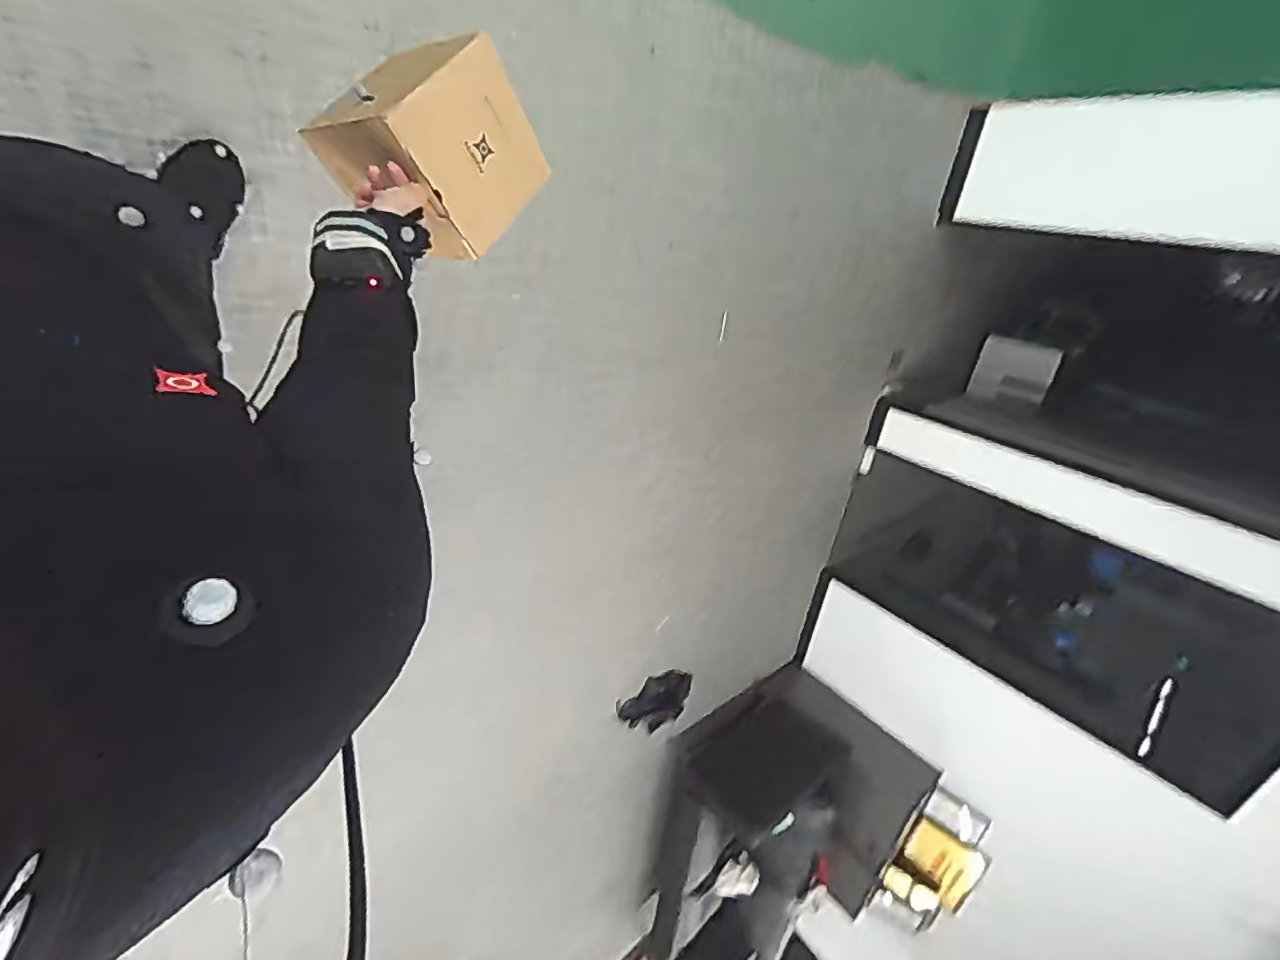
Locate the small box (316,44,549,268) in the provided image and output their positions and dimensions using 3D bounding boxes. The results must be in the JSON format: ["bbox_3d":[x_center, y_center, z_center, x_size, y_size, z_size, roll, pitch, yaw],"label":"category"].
[{"bbox_3d":[-0.250,-0.382,0.658,0.179,0.176,0.168,-62,149,-23],"label":"small box"}]
